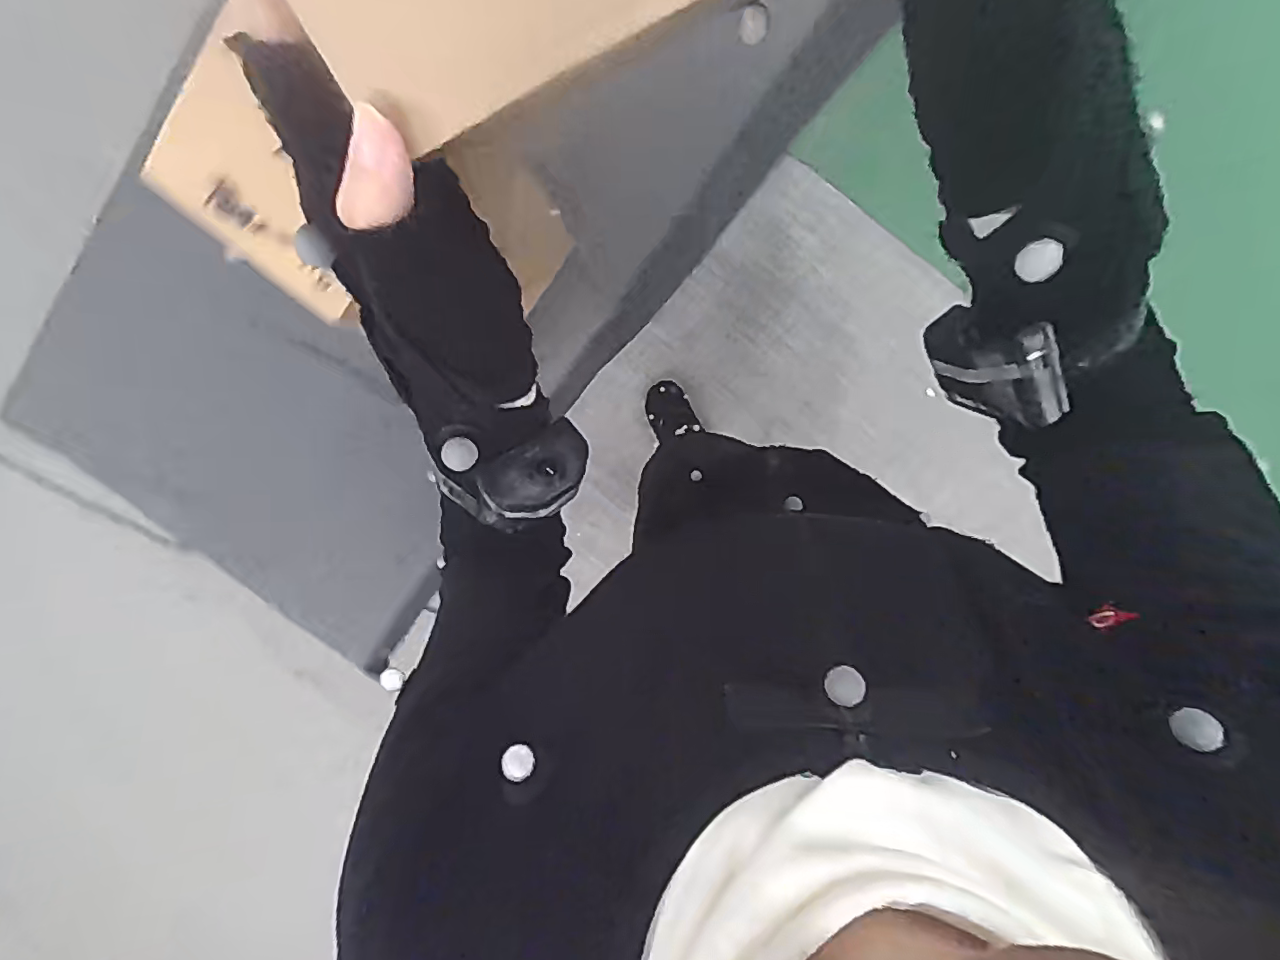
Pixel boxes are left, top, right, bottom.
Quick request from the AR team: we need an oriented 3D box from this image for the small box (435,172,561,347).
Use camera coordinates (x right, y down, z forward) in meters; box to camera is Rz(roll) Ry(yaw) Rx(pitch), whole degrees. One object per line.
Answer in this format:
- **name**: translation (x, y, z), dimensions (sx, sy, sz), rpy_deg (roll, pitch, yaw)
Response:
- **small box**: translation (-0.205, -0.270, 0.595), dimensions (0.168, 0.176, 0.179), rpy_deg (40, 100, -1)

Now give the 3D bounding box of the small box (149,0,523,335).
- **small box**: translation (-0.215, -0.242, 0.437), dimensions (0.168, 0.176, 0.179), rpy_deg (38, 99, -2)
